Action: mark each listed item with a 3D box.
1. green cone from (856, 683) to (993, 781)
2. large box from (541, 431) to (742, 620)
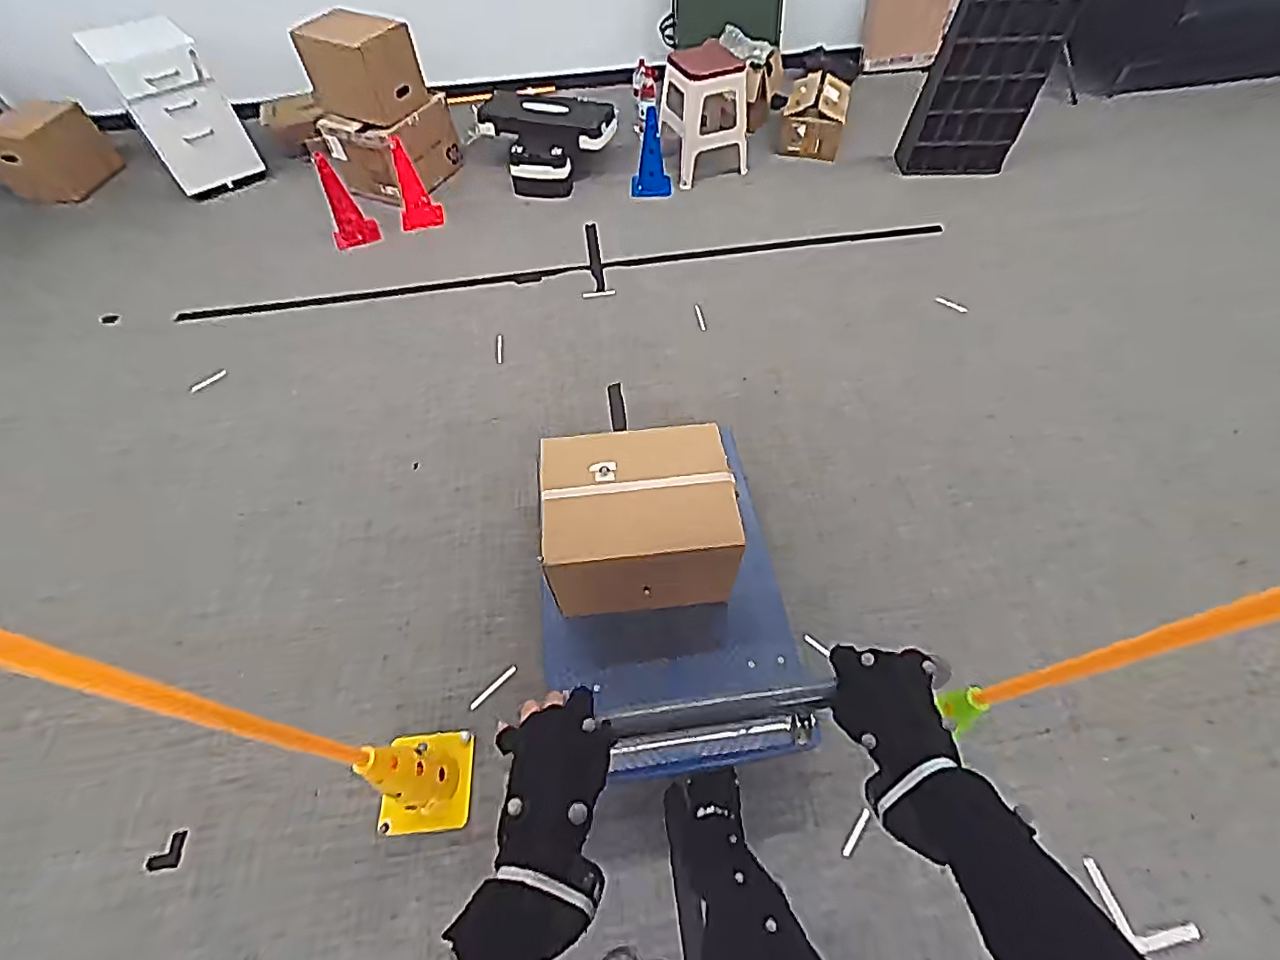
[{"bbox_3d":[0.637,0.507,1.155,0.202,0.368,0.200,-4,55,-2],"label":"green cone"},{"bbox_3d":[-0.003,0.116,1.274,0.408,0.320,0.320,-6,56,-2],"label":"large box"}]
